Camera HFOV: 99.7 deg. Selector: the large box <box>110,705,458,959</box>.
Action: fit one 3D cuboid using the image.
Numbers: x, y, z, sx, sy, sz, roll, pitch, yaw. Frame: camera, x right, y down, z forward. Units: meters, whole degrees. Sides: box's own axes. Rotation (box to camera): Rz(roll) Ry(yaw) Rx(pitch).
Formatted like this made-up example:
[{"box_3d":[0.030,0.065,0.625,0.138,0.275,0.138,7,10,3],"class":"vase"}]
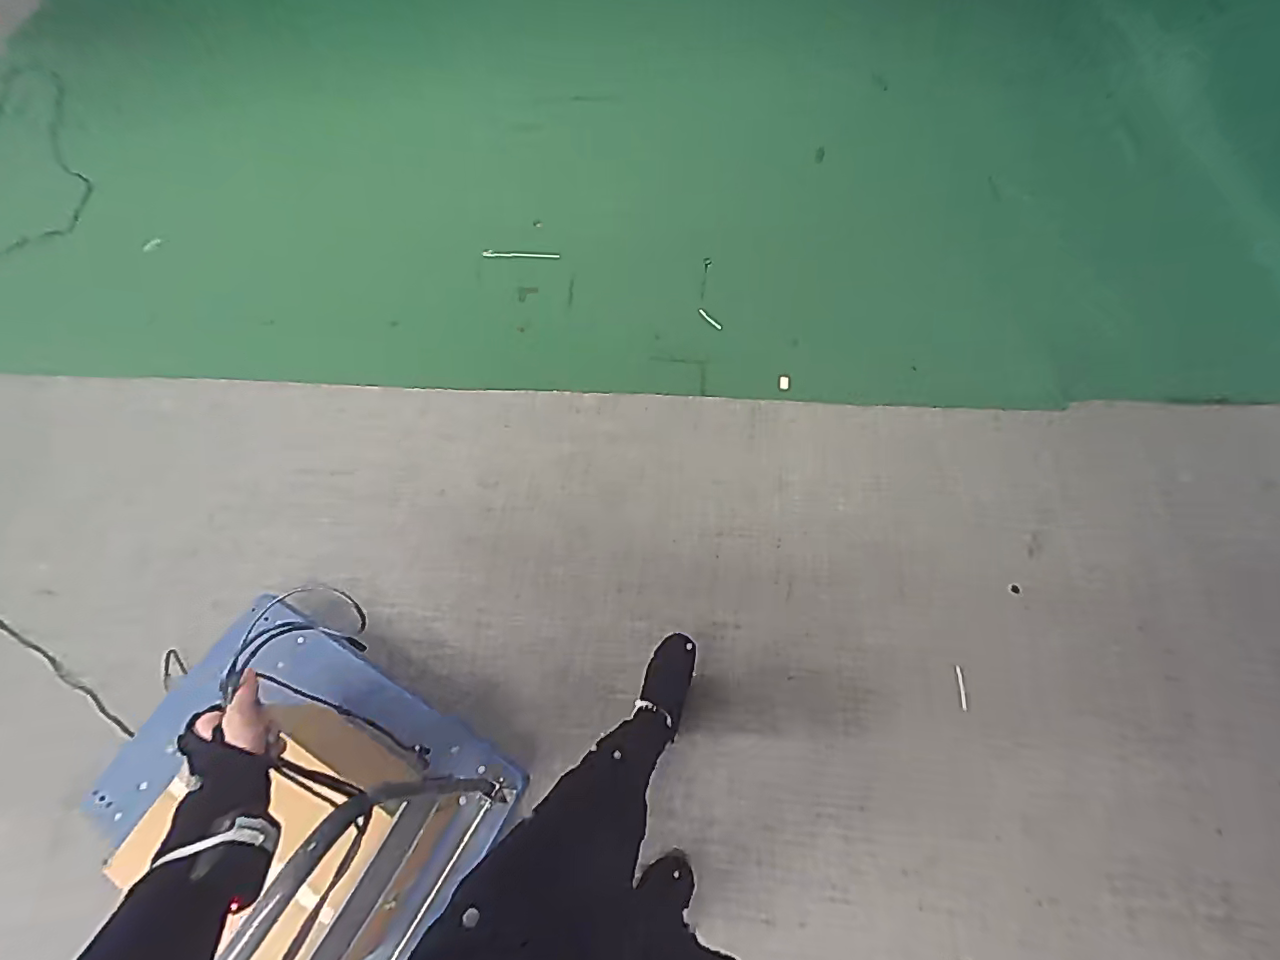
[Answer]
[{"box_3d":[-0.645,0.688,1.052,0.408,0.320,0.320,26,68,15],"class":"large box"}]
